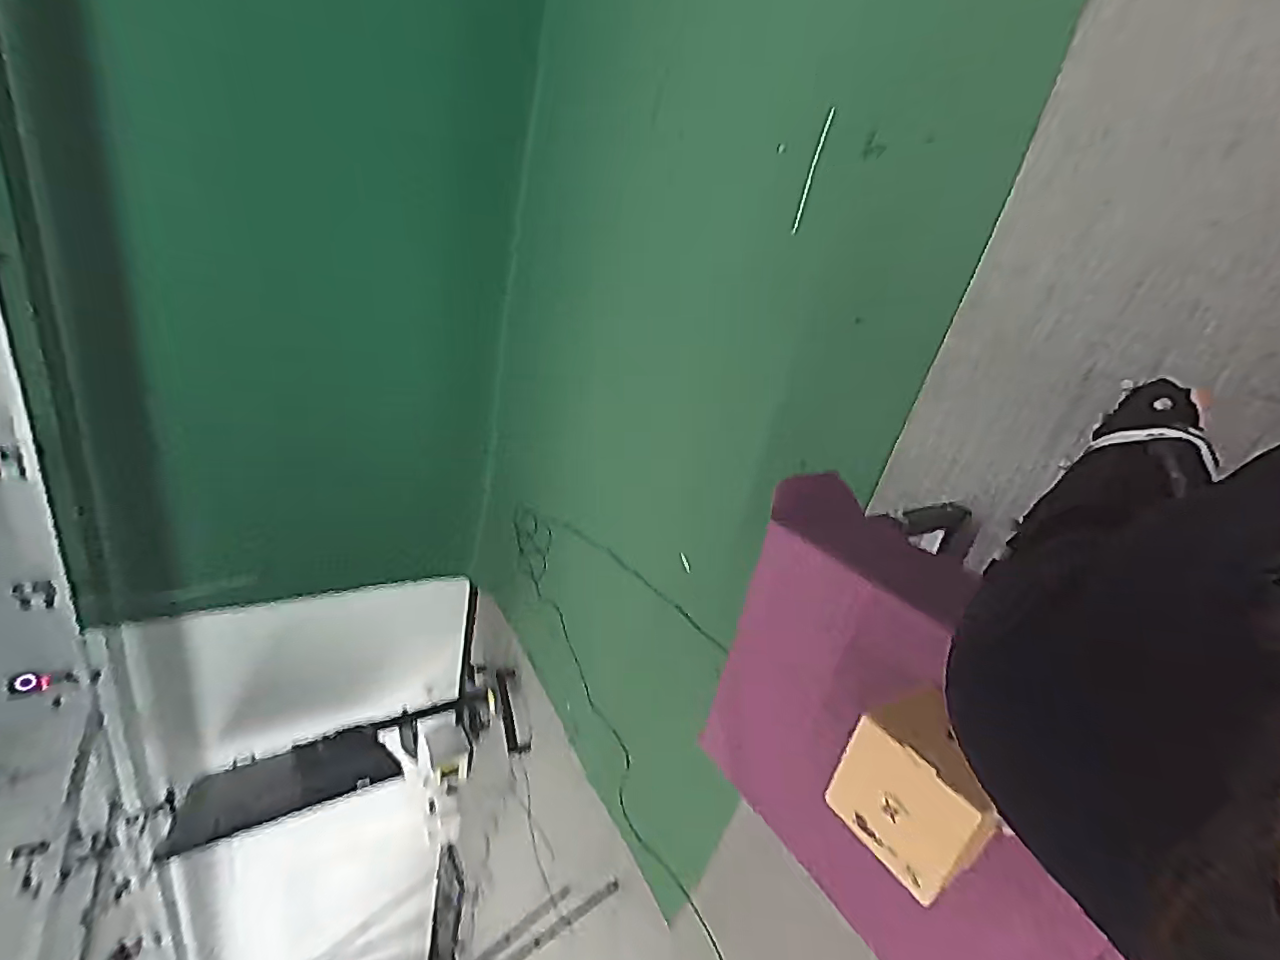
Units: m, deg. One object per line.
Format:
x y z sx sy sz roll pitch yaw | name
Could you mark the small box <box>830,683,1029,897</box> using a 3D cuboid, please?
0.410 0.422 0.767 0.168 0.176 0.179 37 122 47 | small box
